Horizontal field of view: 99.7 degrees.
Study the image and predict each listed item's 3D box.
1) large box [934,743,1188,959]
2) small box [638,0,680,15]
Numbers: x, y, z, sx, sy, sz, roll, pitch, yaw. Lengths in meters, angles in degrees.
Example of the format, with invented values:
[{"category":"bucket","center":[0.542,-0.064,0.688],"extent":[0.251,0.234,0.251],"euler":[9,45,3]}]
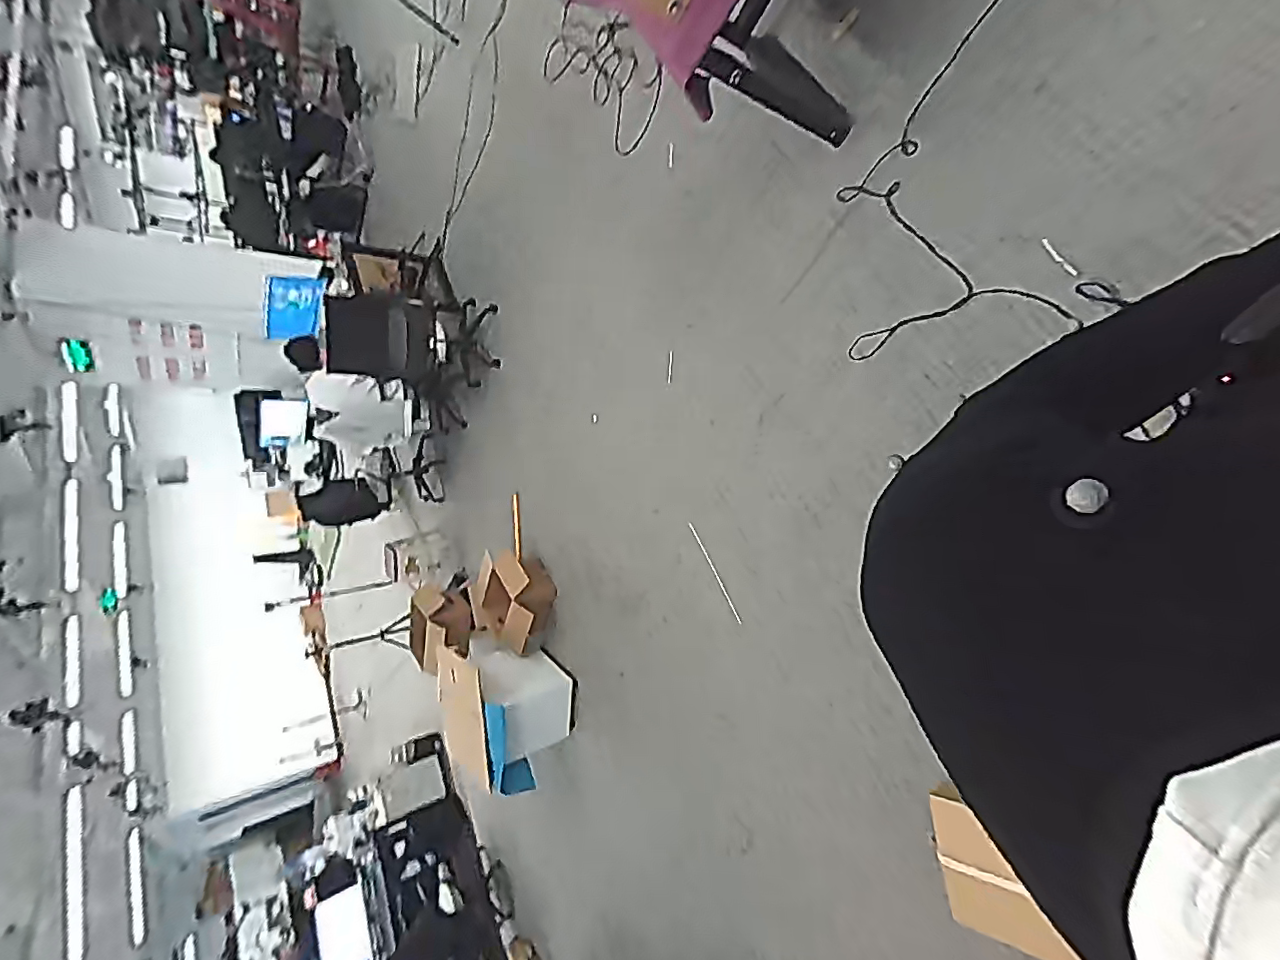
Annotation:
[{"category":"large box","center":[1.011,0.887,1.317],"extent":[0.408,0.320,0.320],"euler":[-13,86,50]},{"category":"small box","center":[0.024,-1.147,1.151],"extent":[0.168,0.176,0.179],"euler":[-44,61,44]}]
